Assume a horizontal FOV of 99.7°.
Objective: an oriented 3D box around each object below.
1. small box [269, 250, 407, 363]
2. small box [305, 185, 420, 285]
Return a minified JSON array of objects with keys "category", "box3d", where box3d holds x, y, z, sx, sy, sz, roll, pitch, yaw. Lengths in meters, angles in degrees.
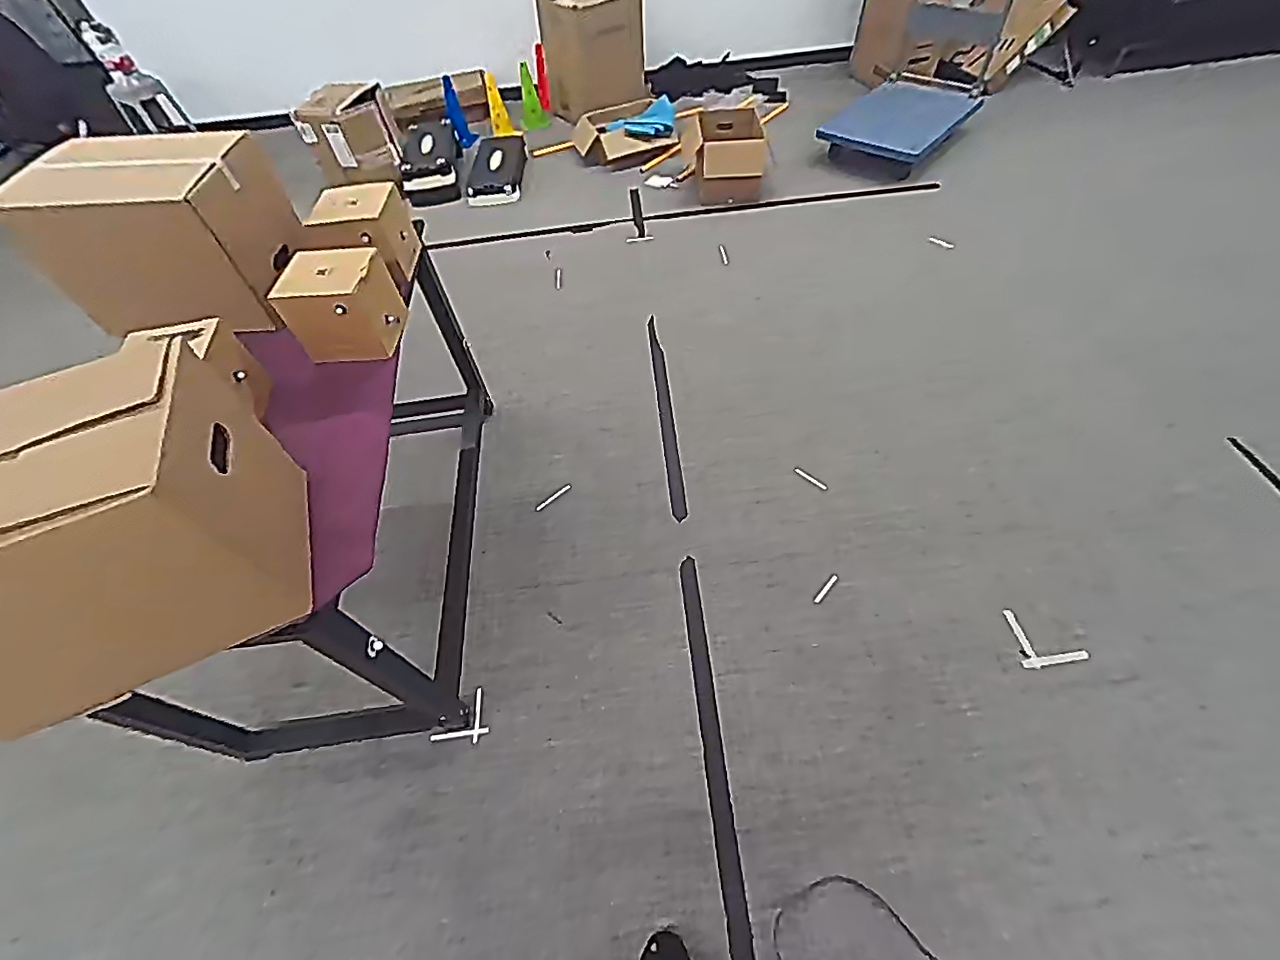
[{"category":"small box","box3d":[-0.633,-0.367,1.157,0.179,0.176,0.168,-3,53,2]},{"category":"small box","box3d":[-0.664,-0.587,1.320,0.179,0.176,0.168,-6,53,3]}]
